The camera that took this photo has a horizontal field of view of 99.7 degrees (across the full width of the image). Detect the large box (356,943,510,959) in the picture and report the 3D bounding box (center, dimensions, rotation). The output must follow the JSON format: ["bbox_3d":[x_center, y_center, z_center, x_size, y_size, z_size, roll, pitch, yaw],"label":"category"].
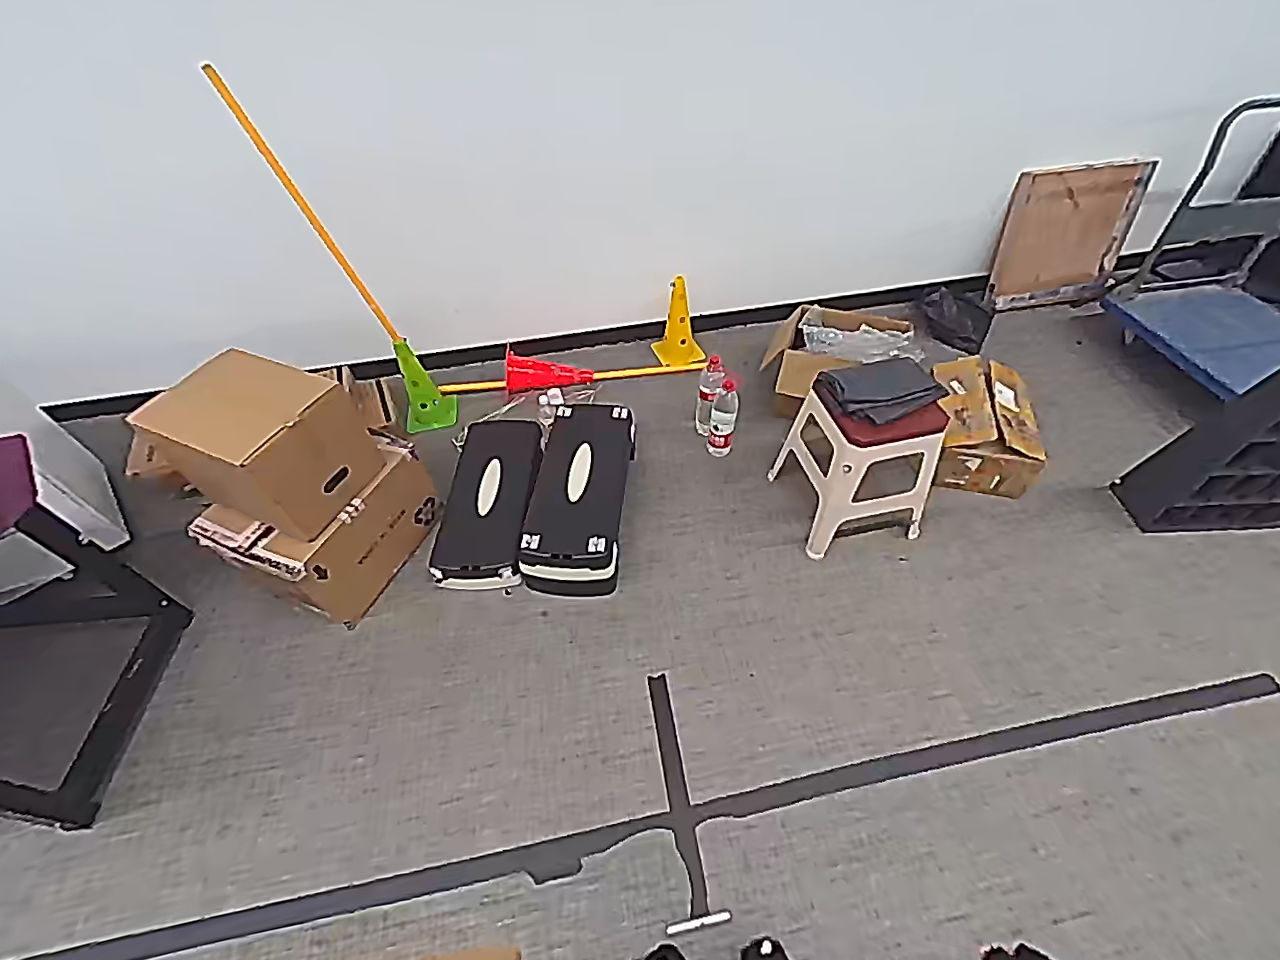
[{"bbox_3d":[-0.322,0.828,0.589,0.320,0.408,0.320,-8,82,-2],"label":"large box"}]
